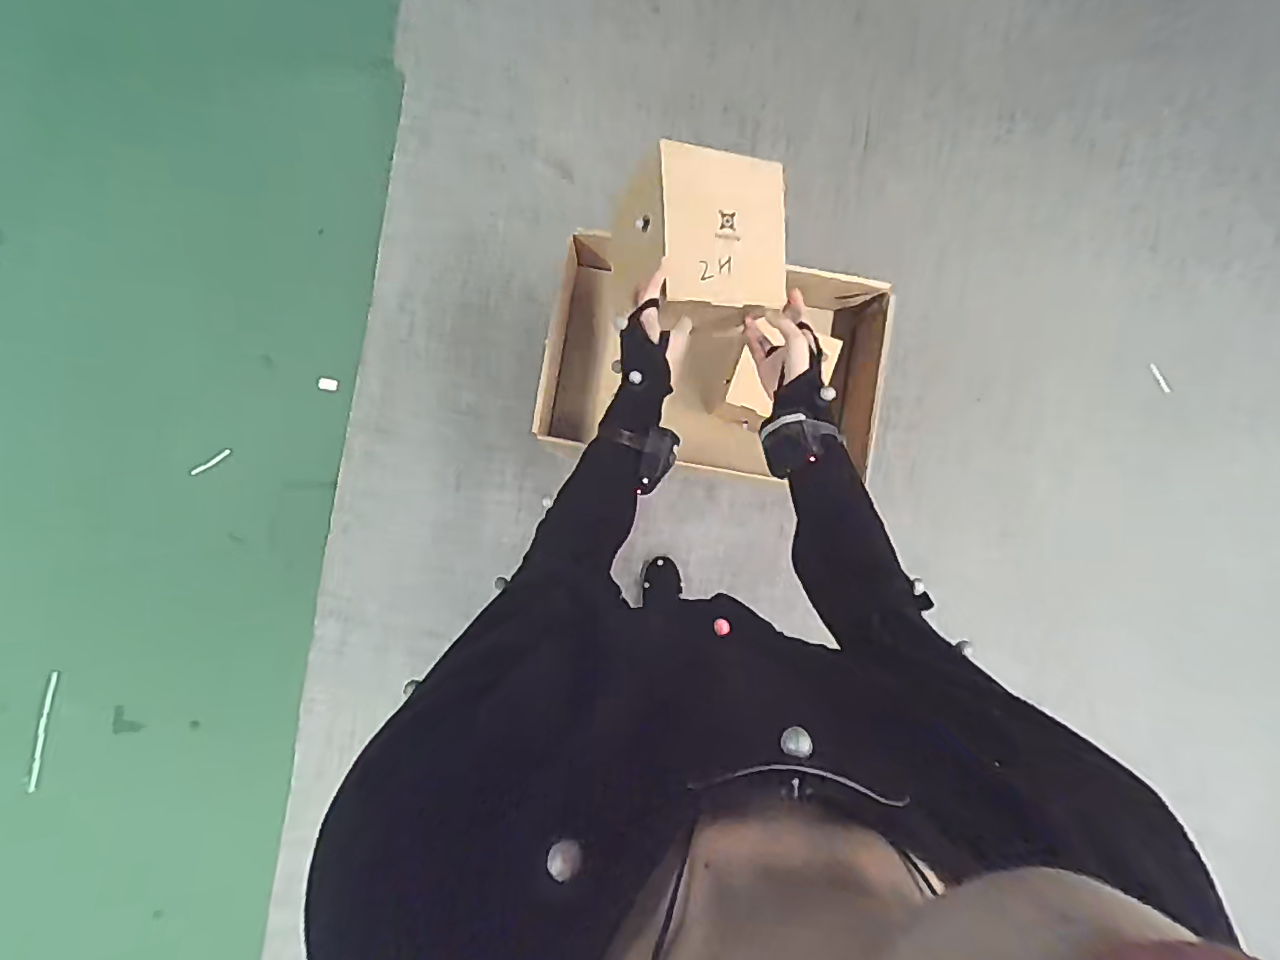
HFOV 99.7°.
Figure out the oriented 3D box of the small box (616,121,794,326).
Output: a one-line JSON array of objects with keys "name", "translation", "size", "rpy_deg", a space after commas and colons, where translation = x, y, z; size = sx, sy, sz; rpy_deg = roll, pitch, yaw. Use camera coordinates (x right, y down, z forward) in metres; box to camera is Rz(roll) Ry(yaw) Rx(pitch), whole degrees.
[{"name": "small box", "translation": [0.073, -0.301, 0.677], "size": [0.168, 0.176, 0.179], "rpy_deg": [-4, 96, -22]}]
